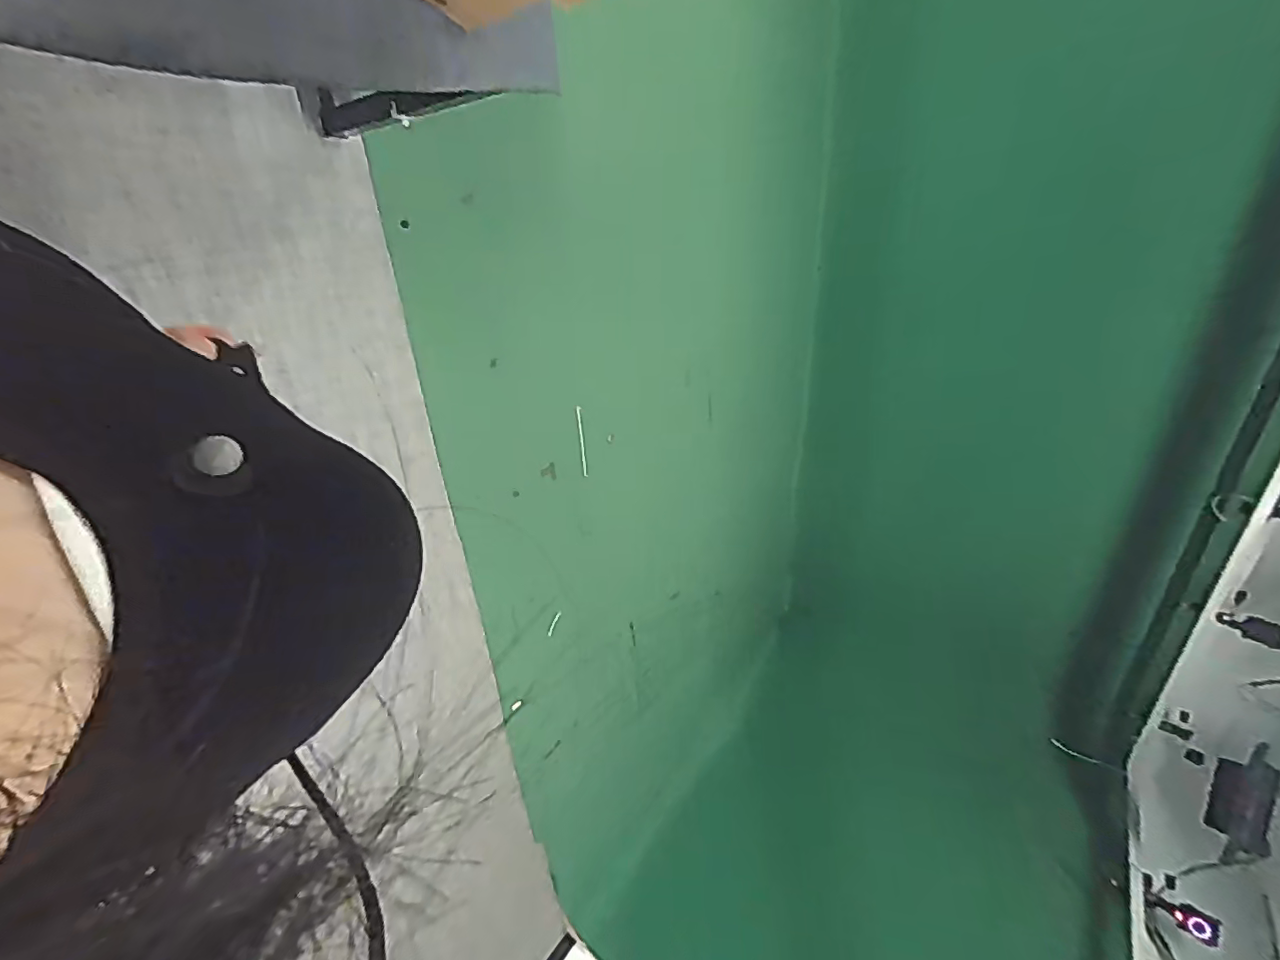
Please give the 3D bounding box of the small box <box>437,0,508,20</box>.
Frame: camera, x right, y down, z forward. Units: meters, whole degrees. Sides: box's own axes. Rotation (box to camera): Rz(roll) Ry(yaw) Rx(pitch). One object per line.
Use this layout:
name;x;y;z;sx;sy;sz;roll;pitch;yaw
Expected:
small box;-0.219;-0.709;0.648;0.168;0.176;0.179;-6;106;-54
